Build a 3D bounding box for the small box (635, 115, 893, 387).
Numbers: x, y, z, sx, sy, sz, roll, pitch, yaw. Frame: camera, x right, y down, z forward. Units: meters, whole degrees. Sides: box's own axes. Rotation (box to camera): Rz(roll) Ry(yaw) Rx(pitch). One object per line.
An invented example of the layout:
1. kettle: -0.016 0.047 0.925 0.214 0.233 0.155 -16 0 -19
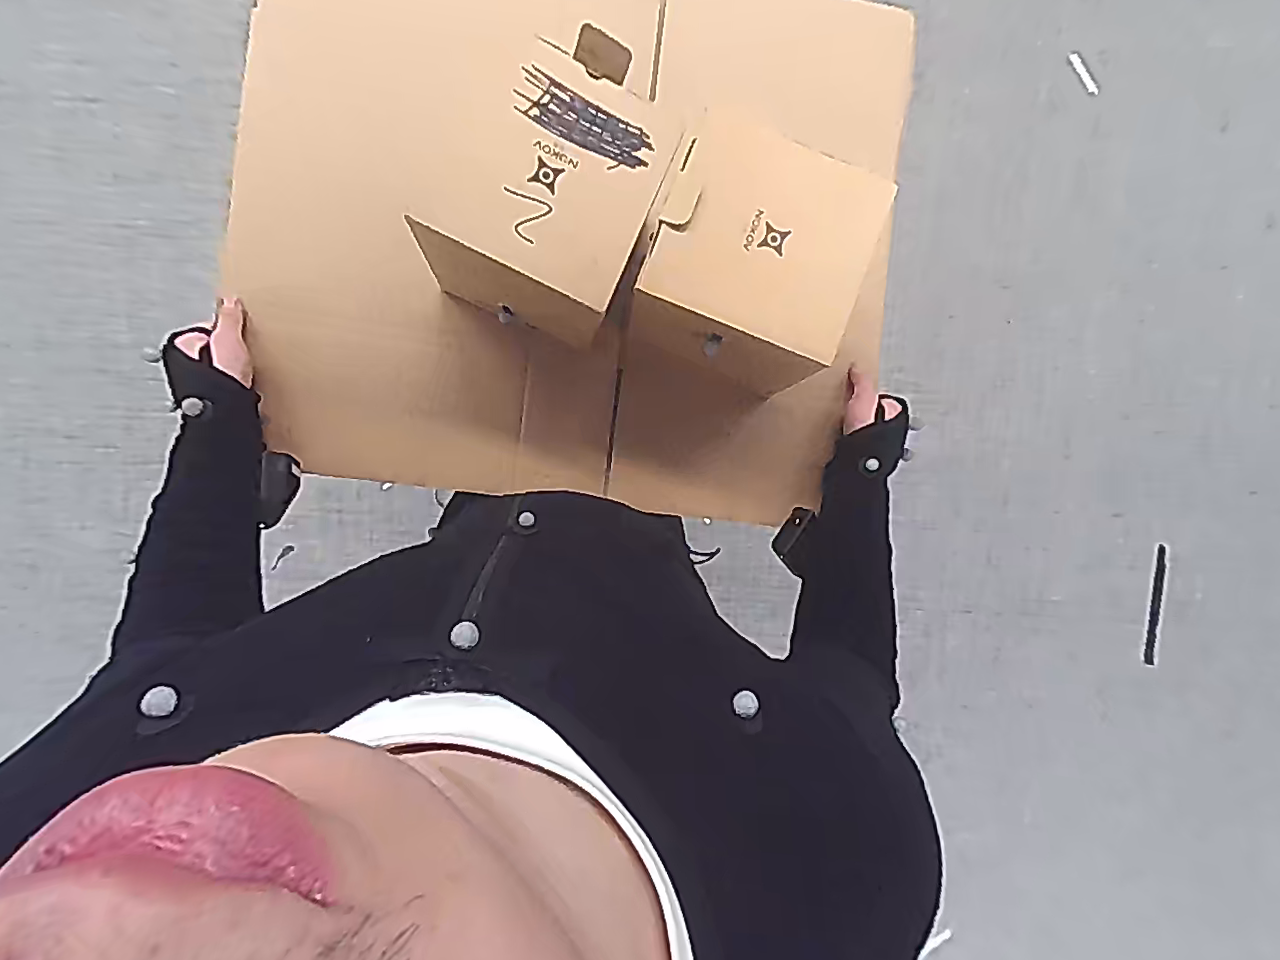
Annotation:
1. small box: 0.104 -0.202 0.537 0.179 0.176 0.168 21 89 -2
